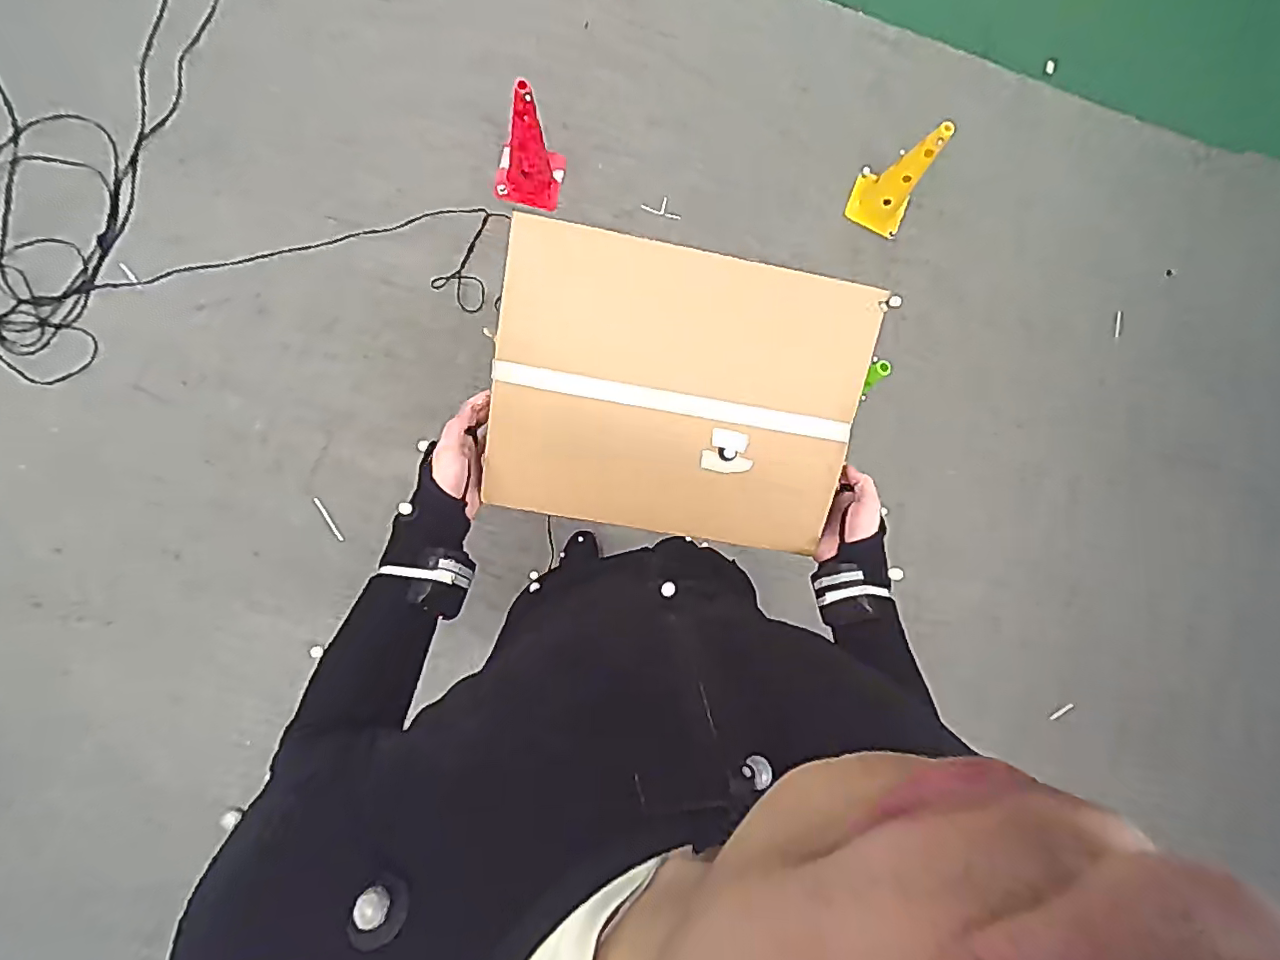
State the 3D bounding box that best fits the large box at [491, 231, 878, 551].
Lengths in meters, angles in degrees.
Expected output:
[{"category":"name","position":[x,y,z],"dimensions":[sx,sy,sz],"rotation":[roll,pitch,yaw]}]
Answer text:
[{"category":"large box","position":[0.033,-0.121,0.753],"dimensions":[0.408,0.320,0.320],"rotation":[9,105,-6]}]
